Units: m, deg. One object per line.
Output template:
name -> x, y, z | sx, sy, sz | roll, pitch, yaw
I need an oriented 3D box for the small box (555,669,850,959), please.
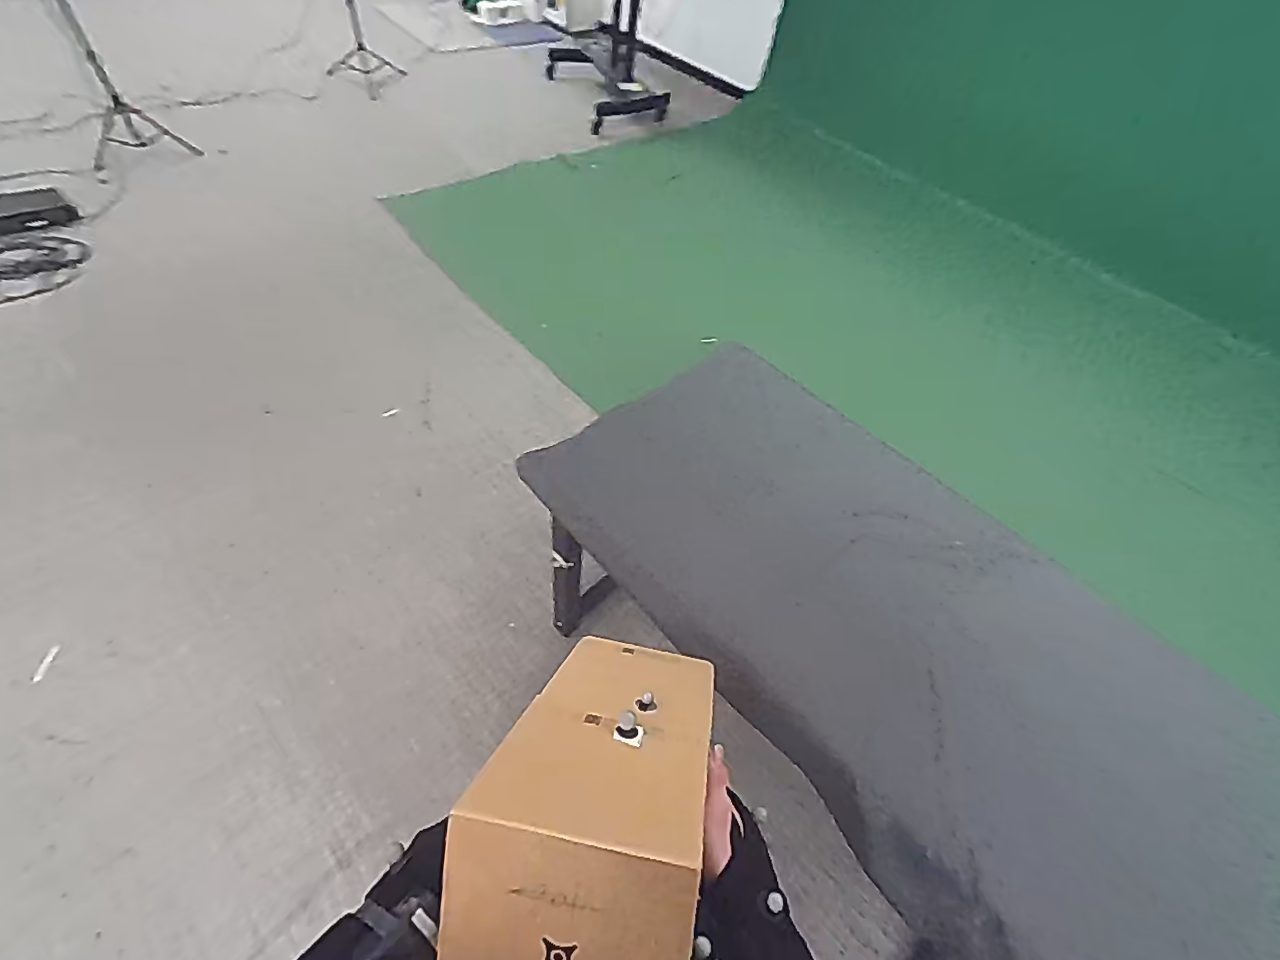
small box -> 0.044, 0.298, 0.472 | 0.179, 0.168, 0.176 | 35, 80, -4
